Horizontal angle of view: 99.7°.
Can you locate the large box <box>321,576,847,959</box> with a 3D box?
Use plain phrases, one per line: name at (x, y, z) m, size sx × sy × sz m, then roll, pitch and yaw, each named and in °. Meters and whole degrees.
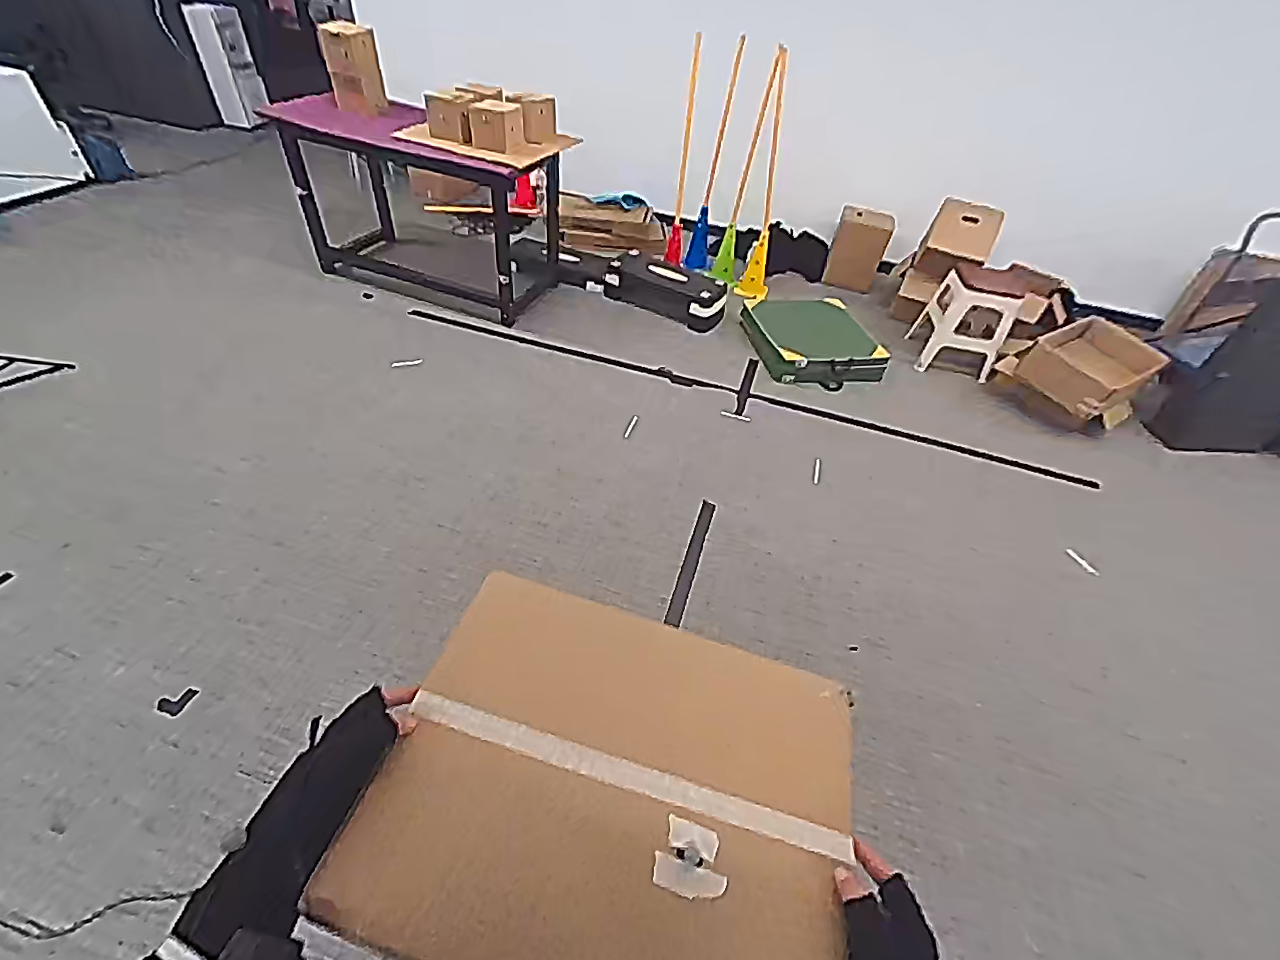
large box at (-0.035, 0.365, 0.589) m, size 0.408 × 0.320 × 0.320 m, roll 18°, pitch 46°, yaw 4°
